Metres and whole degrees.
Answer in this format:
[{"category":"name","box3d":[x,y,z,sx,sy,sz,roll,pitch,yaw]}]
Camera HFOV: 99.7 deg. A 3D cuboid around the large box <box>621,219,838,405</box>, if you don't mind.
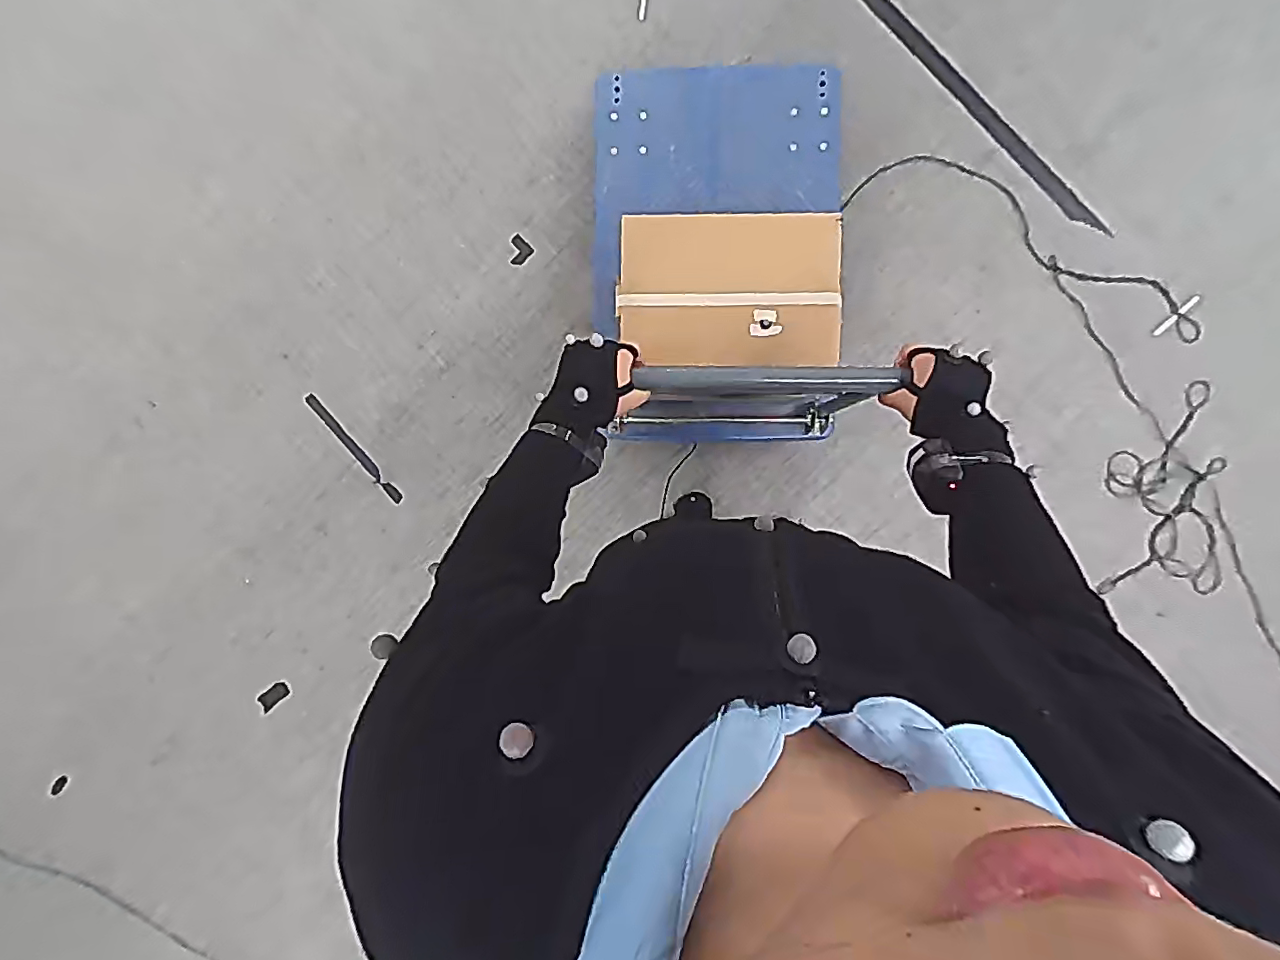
[{"category":"large box","box3d":[0.168,-0.332,1.151,0.408,0.320,0.320,1,94,2]}]
